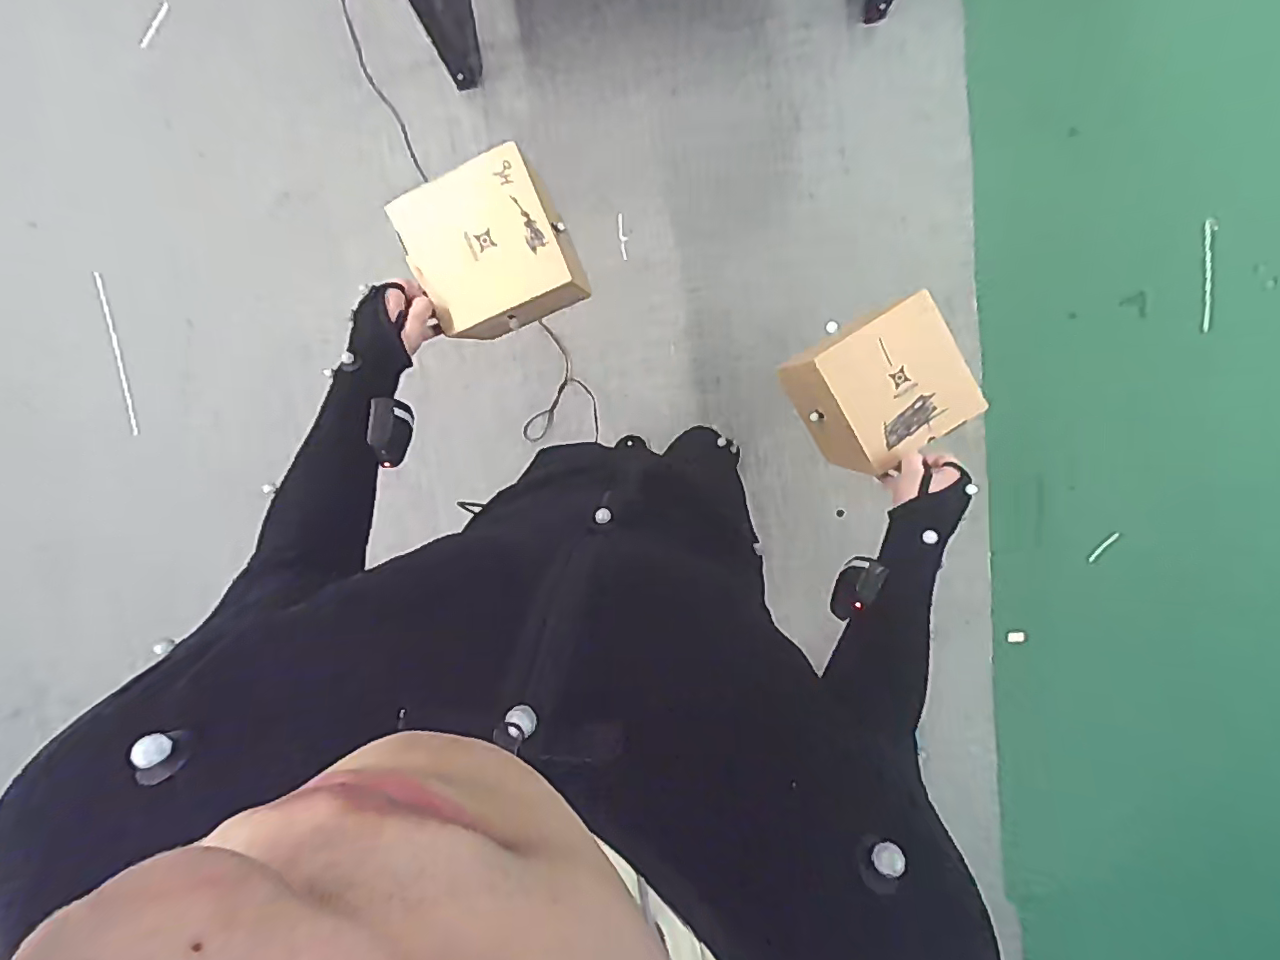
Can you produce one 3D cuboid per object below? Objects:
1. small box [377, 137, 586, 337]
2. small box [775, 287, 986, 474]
[{"bbox_3d":[-0.189,-0.293,0.701,0.179,0.176,0.168,-22,101,9],"label":"small box"},{"bbox_3d":[0.314,-0.131,0.740,0.168,0.176,0.179,-32,97,1],"label":"small box"}]
